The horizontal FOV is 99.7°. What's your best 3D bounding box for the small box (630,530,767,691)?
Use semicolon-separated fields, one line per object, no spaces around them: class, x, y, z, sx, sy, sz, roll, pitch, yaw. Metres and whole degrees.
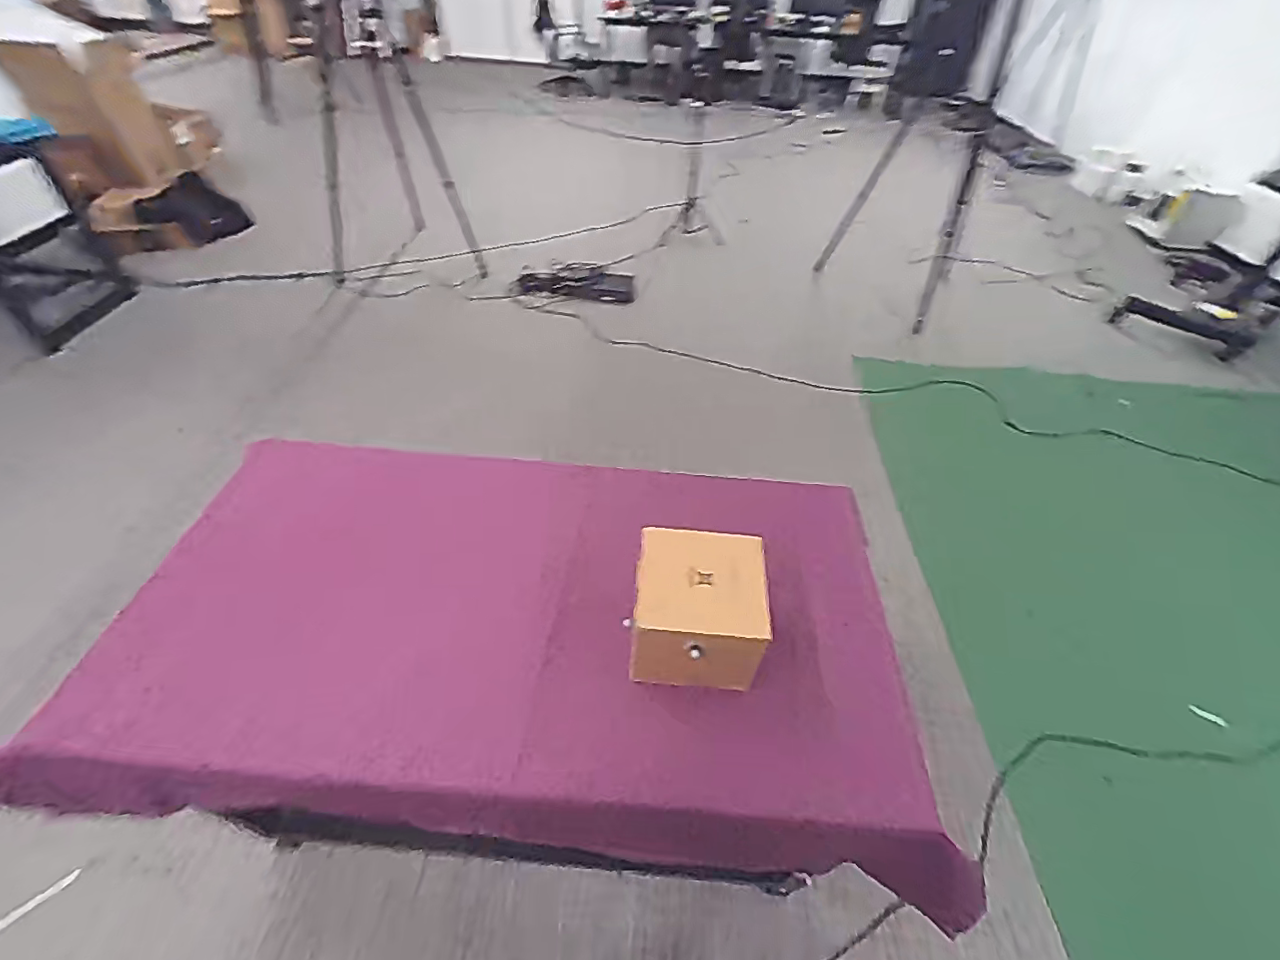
small box;0.079;0.196;0.799;0.179;0.176;0.168;5;46;1
